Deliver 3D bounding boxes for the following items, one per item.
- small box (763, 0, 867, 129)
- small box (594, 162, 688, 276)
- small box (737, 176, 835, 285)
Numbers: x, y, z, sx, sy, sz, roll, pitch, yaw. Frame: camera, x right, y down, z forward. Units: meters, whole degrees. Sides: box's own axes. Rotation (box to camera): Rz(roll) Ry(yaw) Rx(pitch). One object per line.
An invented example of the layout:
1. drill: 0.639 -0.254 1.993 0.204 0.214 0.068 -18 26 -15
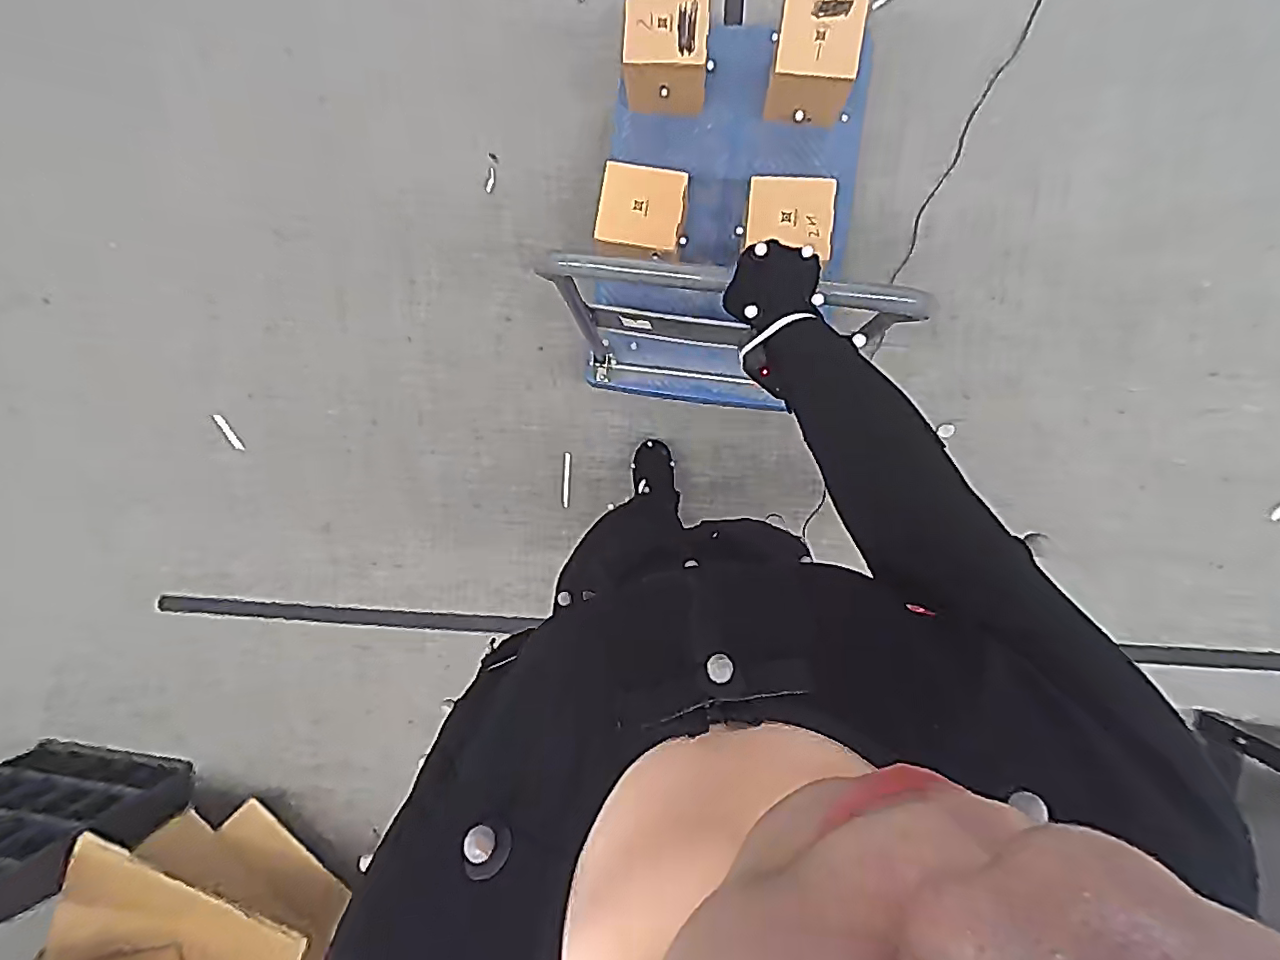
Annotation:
1. small box: 0.371 -0.909 1.174 0.168 0.176 0.179 8 94 4
2. small box: 0.005 -0.576 1.213 0.179 0.176 0.168 10 92 2
3. small box: 0.312 -0.540 1.191 0.179 0.176 0.168 5 92 4
